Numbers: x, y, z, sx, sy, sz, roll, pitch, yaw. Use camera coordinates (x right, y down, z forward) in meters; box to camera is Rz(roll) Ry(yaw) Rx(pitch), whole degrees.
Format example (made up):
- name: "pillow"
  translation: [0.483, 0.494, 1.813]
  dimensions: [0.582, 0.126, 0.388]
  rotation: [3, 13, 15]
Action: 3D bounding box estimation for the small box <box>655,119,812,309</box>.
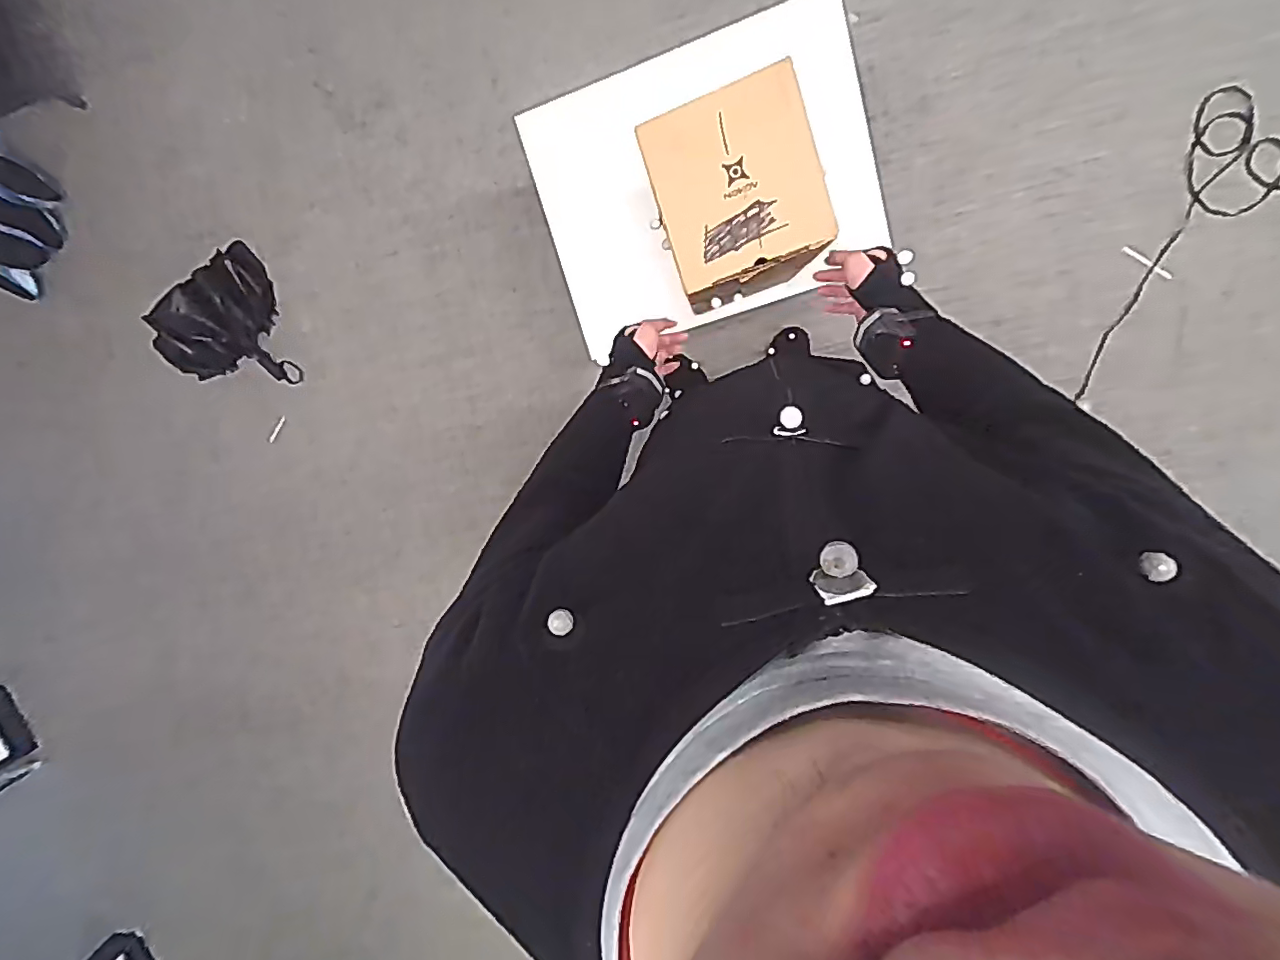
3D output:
- name: "small box"
  translation: [0.129, -0.365, 0.780]
  dimensions: [0.168, 0.176, 0.179]
  rotation: [-19, 99, 11]
